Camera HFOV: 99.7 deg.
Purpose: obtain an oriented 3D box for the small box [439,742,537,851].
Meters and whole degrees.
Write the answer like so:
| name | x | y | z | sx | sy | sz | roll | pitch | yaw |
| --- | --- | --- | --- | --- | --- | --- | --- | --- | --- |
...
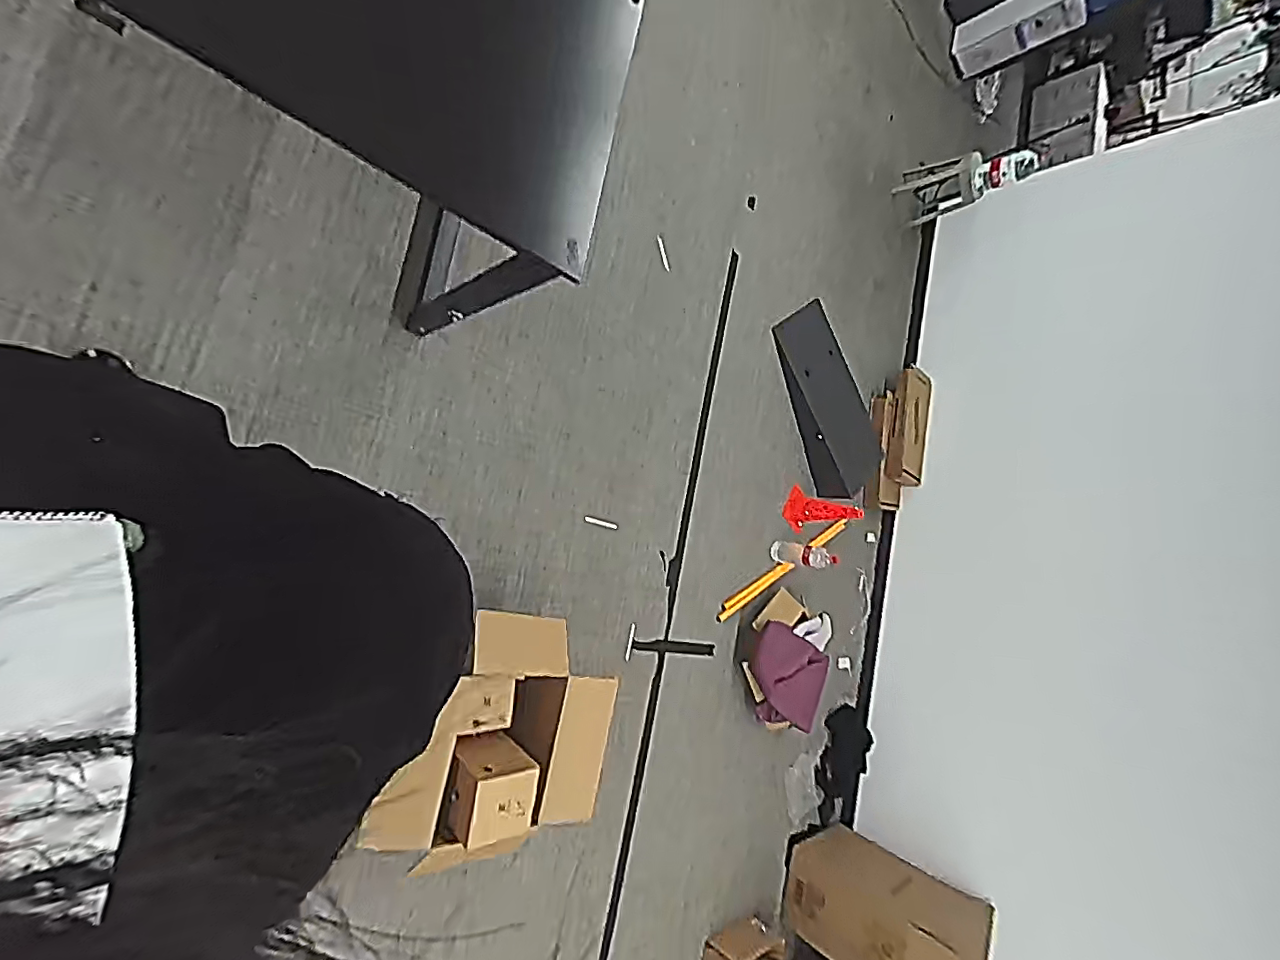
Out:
| name | x | y | z | sx | sy | sz | roll | pitch | yaw |
| --- | --- | --- | --- | --- | --- | --- | --- | --- | --- |
| small box | -0.395 | 0.801 | 1.391 | 0.179 | 0.176 | 0.168 | 11 | 88 | -42 |
